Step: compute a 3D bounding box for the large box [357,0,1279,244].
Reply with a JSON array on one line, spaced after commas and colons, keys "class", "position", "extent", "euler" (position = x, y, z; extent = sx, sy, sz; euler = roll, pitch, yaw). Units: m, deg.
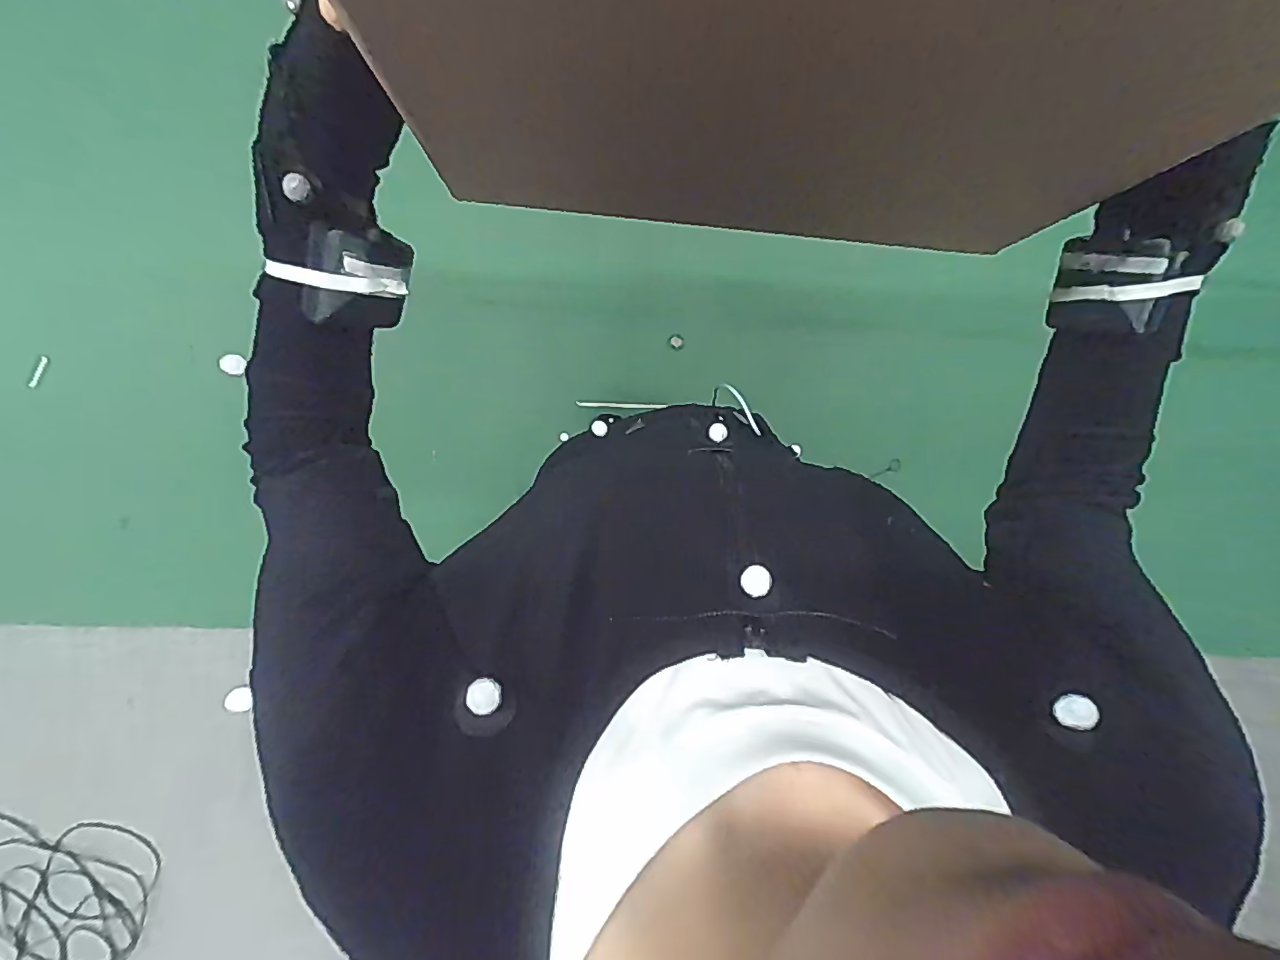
[{"class": "large box", "position": [0.088, -0.330, 0.239], "extent": [0.408, 0.320, 0.320], "euler": [4, 94, -5]}]
